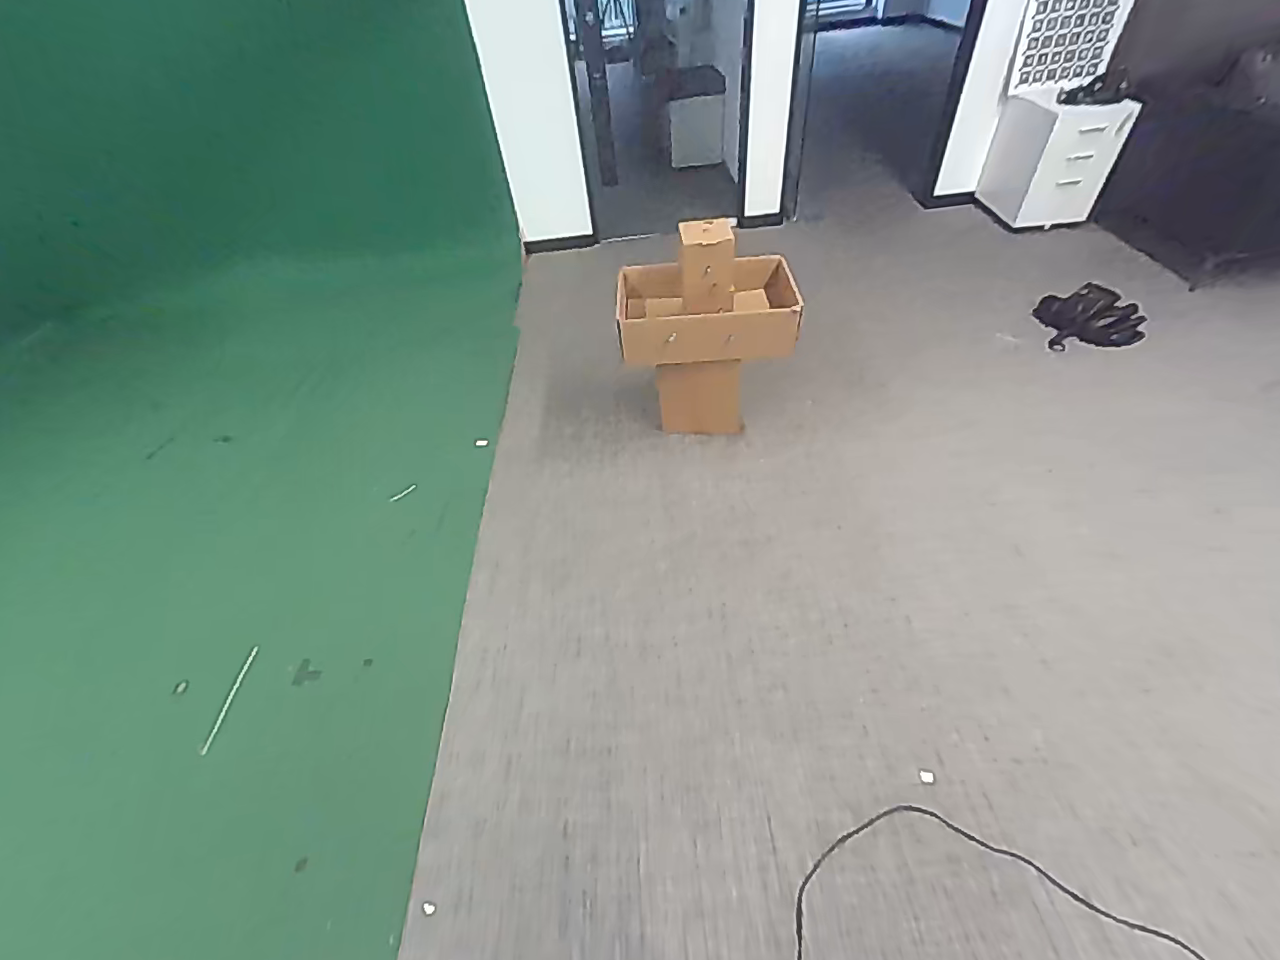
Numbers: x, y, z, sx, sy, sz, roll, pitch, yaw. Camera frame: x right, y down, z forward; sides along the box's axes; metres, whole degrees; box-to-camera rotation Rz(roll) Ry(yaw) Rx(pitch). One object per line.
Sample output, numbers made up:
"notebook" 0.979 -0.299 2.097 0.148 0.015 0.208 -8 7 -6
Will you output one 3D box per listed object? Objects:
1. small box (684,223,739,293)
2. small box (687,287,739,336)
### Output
"small box" 0.240 -0.745 1.829 0.168 0.176 0.179 -4 47 1
"small box" 0.259 -0.629 1.944 0.168 0.176 0.179 -4 44 1
